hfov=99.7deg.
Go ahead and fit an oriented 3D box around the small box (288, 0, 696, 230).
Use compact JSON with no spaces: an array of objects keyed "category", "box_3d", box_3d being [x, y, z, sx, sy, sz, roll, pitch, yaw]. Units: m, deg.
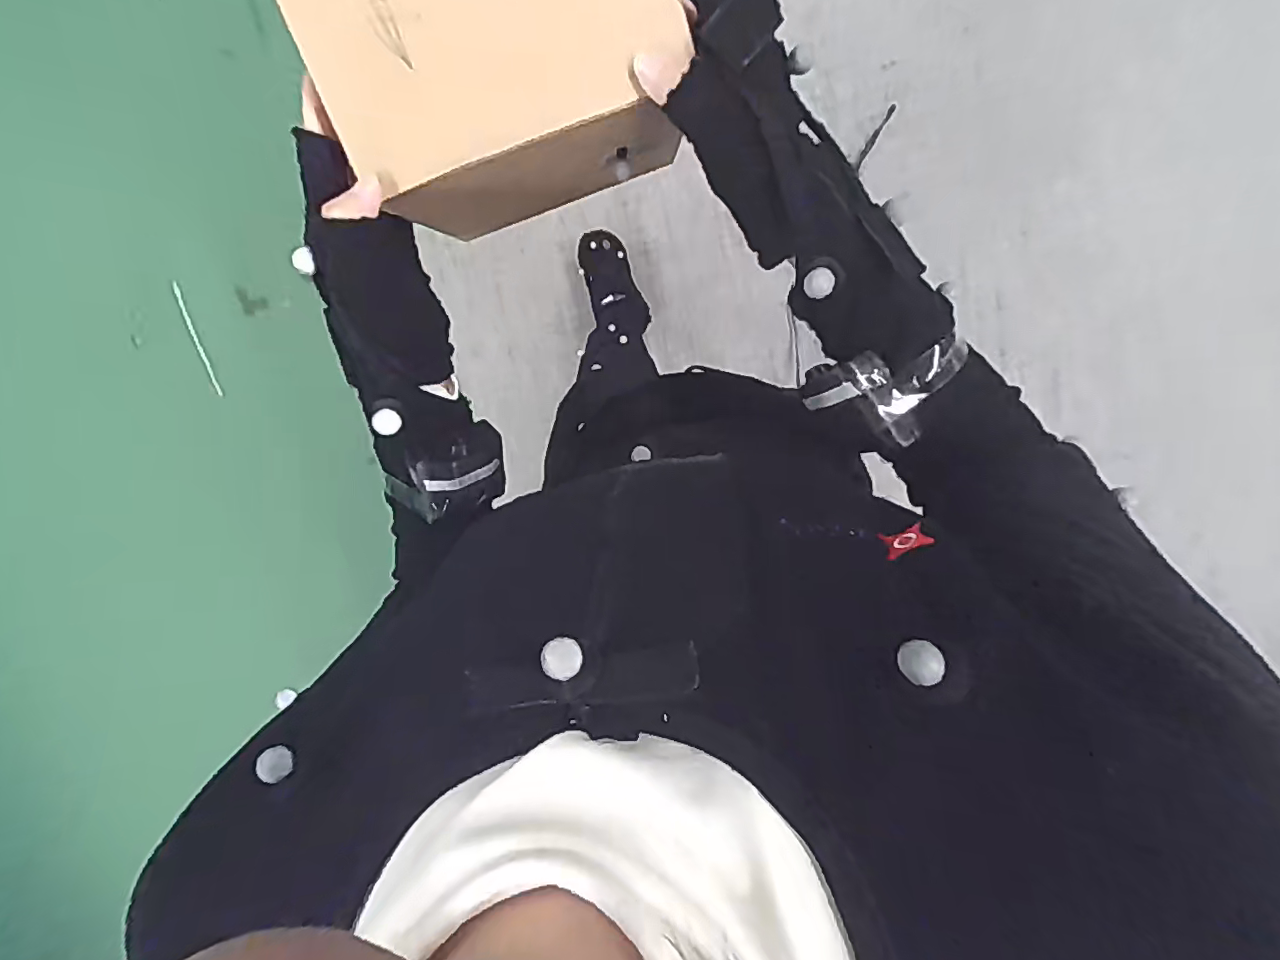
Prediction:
[{"category":"small box","box_3d":[-0.079,-0.268,0.320,0.179,0.176,0.168,-18,106,6]}]
